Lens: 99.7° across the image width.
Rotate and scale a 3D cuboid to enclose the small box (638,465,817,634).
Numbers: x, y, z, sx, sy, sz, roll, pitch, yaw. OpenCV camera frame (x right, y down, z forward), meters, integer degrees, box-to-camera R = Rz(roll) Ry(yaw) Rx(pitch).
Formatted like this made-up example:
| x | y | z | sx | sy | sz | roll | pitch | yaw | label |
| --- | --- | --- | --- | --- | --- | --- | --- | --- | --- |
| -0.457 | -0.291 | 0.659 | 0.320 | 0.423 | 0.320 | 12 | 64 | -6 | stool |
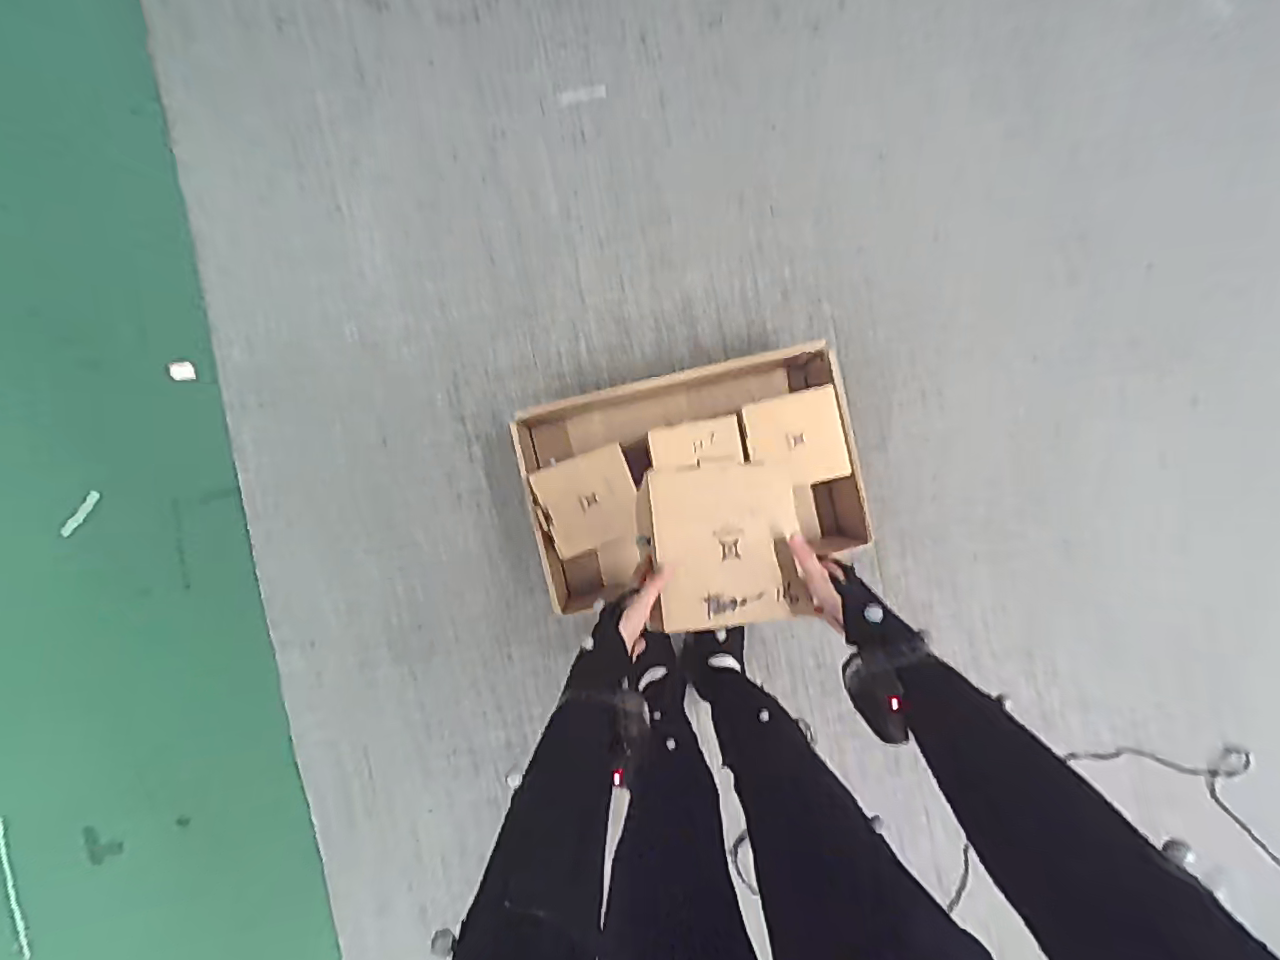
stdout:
| x | y | z | sx | sy | sz | roll | pitch | yaw | label |
| --- | --- | --- | --- | --- | --- | --- | --- | --- | --- |
| 0.091 | 0.091 | 0.659 | 0.168 | 0.176 | 0.179 | -4 | 75 | -6 | small box |
